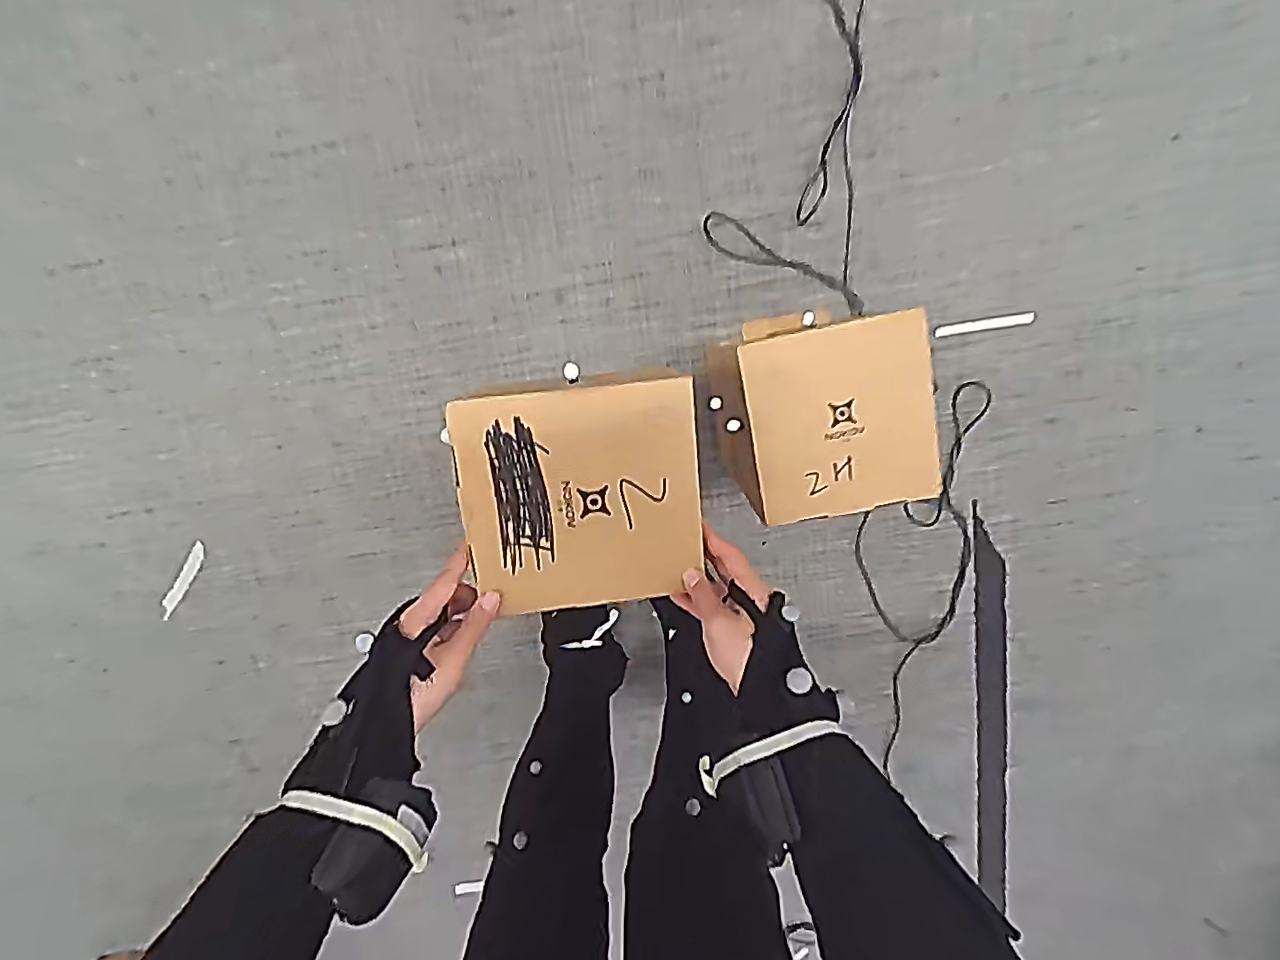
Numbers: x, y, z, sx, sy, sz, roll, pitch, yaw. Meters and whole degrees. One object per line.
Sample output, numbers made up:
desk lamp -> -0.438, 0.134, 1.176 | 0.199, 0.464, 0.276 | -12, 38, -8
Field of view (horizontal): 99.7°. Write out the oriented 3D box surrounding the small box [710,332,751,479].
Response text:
small box -> 0.192, -0.113, 0.726 | 0.168, 0.176, 0.179 | -9, 103, 3

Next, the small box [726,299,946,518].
small box -> 0.189, -0.077, 0.565 | 0.168, 0.176, 0.179 | -10, 103, 5
